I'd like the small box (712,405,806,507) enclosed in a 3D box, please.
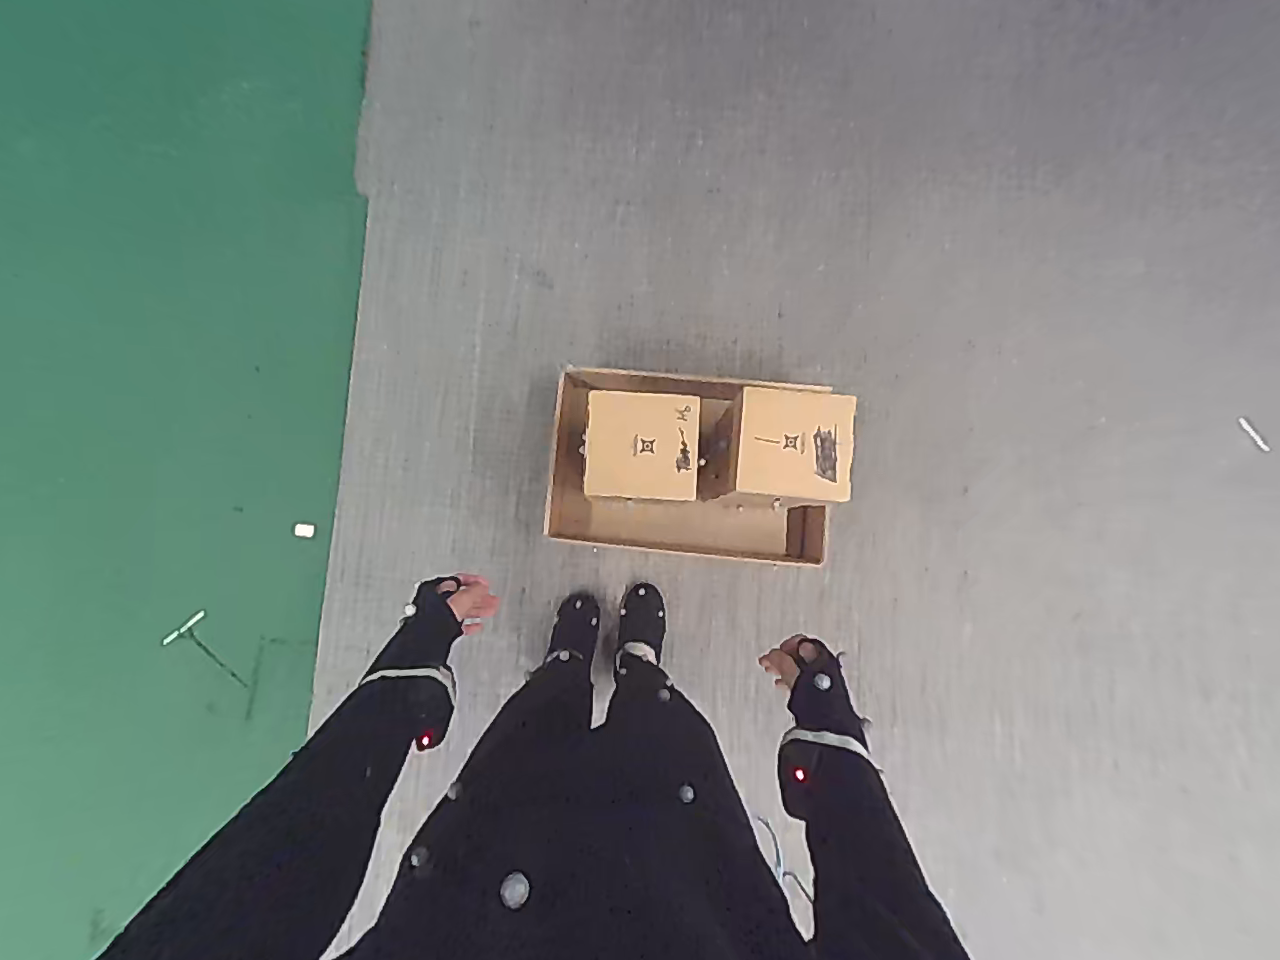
[{"bbox_3d":[0.237,-0.040,1.073,0.168,0.176,0.179,6,85,2],"label":"small box"}]

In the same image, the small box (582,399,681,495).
[{"bbox_3d":[-0.015,-0.058,1.082,0.179,0.176,0.168,3,85,0],"label":"small box"}]

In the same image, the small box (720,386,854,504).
[{"bbox_3d":[0.238,-0.050,0.910,0.179,0.176,0.168,6,85,3],"label":"small box"}]
